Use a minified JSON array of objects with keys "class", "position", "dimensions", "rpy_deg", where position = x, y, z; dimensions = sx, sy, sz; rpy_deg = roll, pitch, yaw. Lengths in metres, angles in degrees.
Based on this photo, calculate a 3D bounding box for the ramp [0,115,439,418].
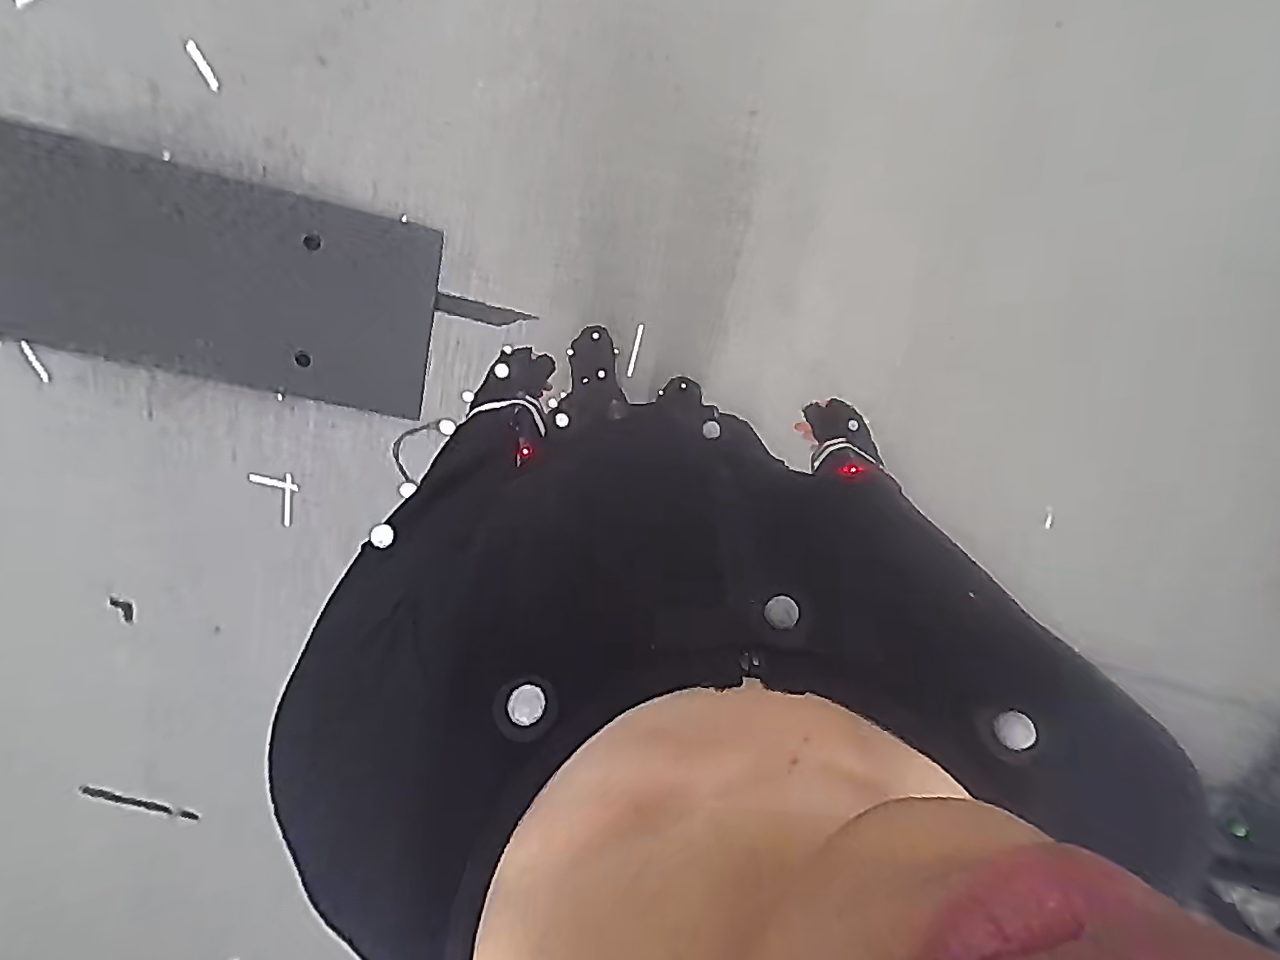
[{"class":"ramp","position":[-1.033,-0.486,1.313],"dimensions":[0.991,0.206,0.509],"rpy_deg":[12,103,-2]}]
